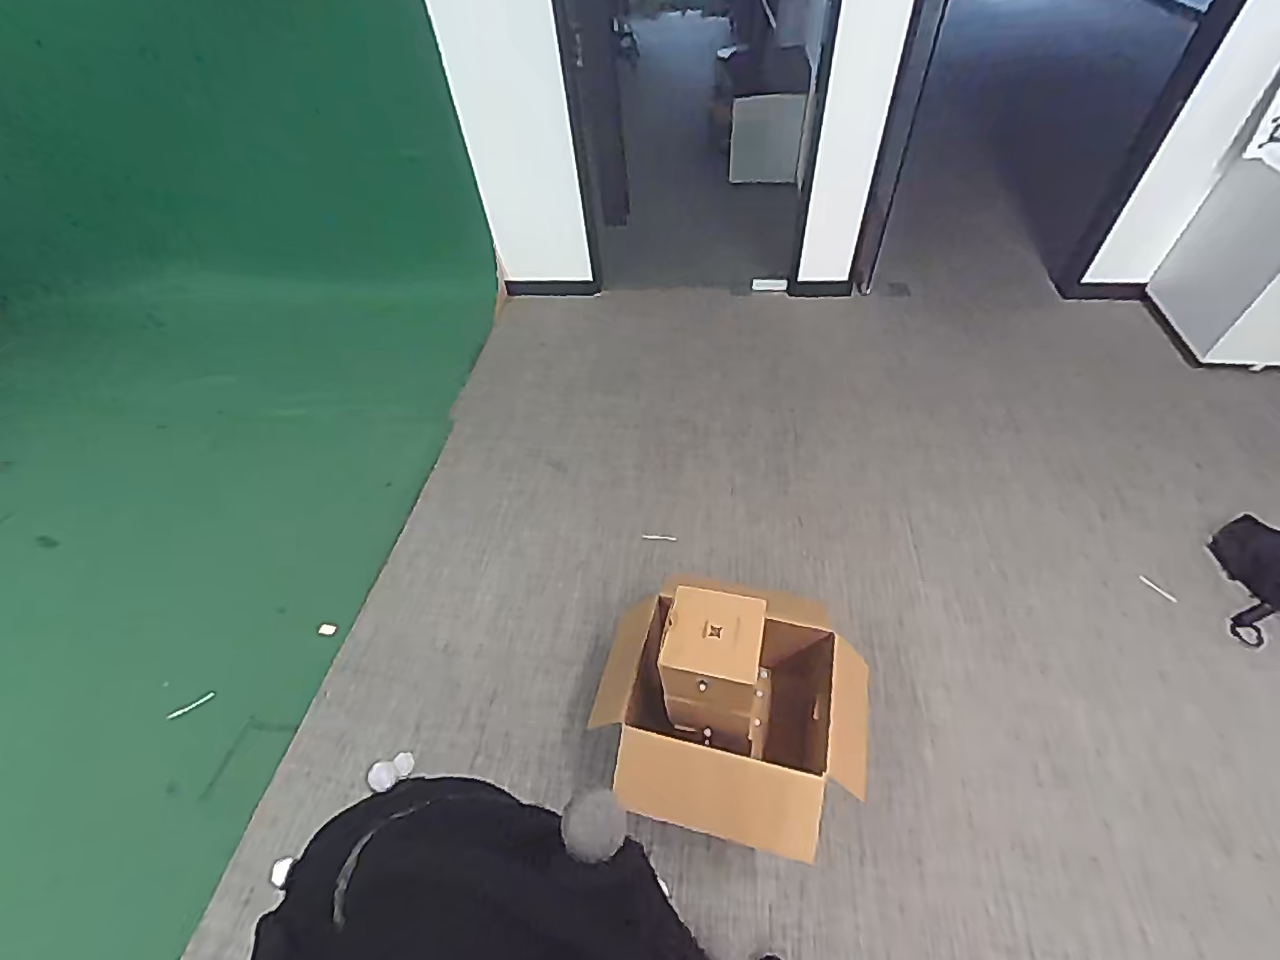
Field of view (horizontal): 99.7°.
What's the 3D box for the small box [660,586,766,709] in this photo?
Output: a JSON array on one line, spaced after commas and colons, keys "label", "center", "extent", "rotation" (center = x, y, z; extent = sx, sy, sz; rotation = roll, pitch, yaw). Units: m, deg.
[{"label": "small box", "center": [0.147, 0.331, 1.060], "extent": [0.179, 0.176, 0.168], "rotation": [7, 52, 13]}]
